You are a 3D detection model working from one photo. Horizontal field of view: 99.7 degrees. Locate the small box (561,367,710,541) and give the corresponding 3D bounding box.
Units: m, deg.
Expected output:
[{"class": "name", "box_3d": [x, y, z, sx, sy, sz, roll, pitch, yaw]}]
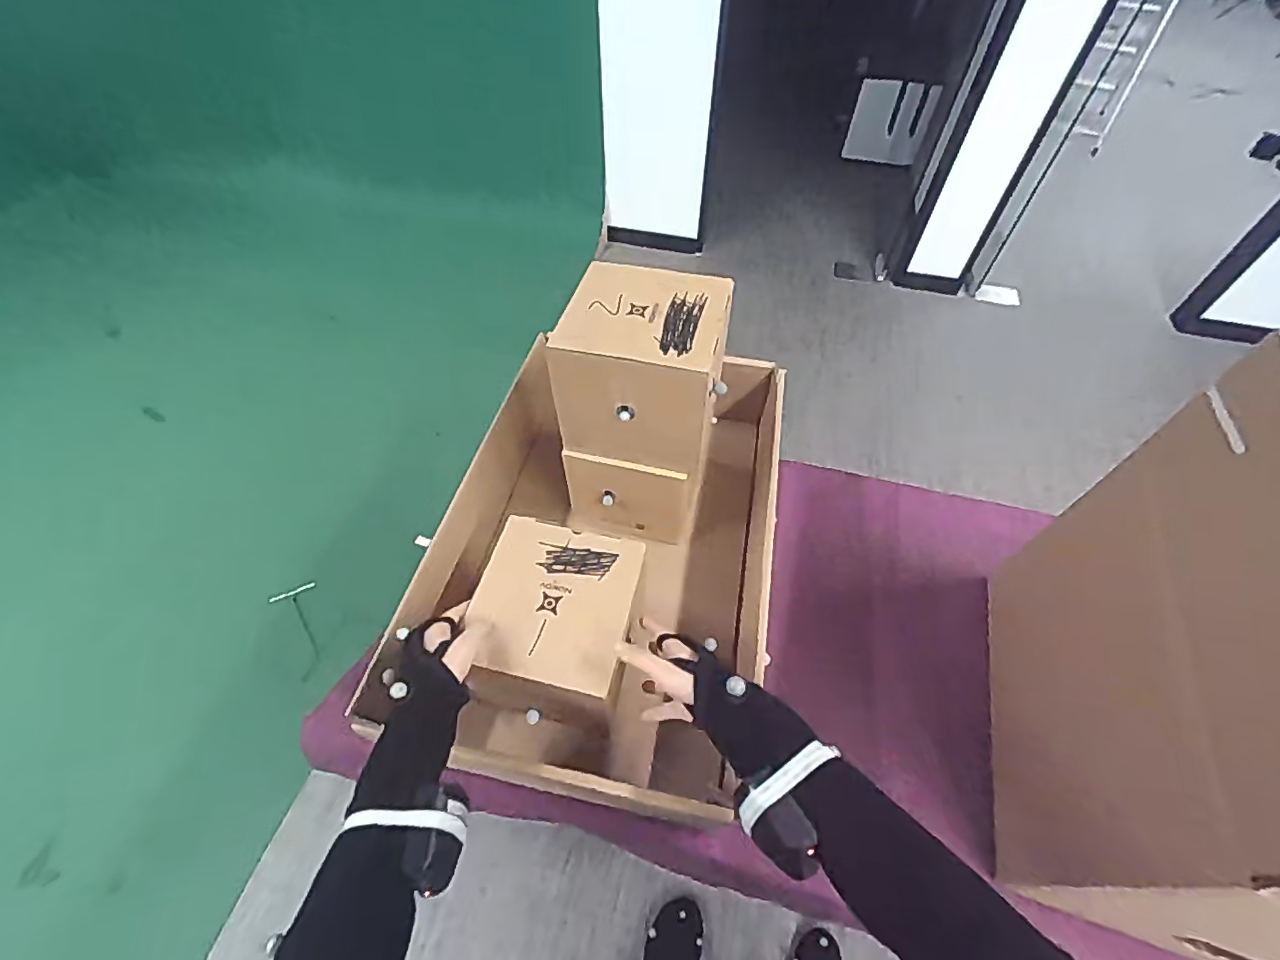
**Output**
[{"class": "small box", "box_3d": [0.001, -0.034, 0.789, 0.168, 0.176, 0.179, 12, 55, 10]}]
